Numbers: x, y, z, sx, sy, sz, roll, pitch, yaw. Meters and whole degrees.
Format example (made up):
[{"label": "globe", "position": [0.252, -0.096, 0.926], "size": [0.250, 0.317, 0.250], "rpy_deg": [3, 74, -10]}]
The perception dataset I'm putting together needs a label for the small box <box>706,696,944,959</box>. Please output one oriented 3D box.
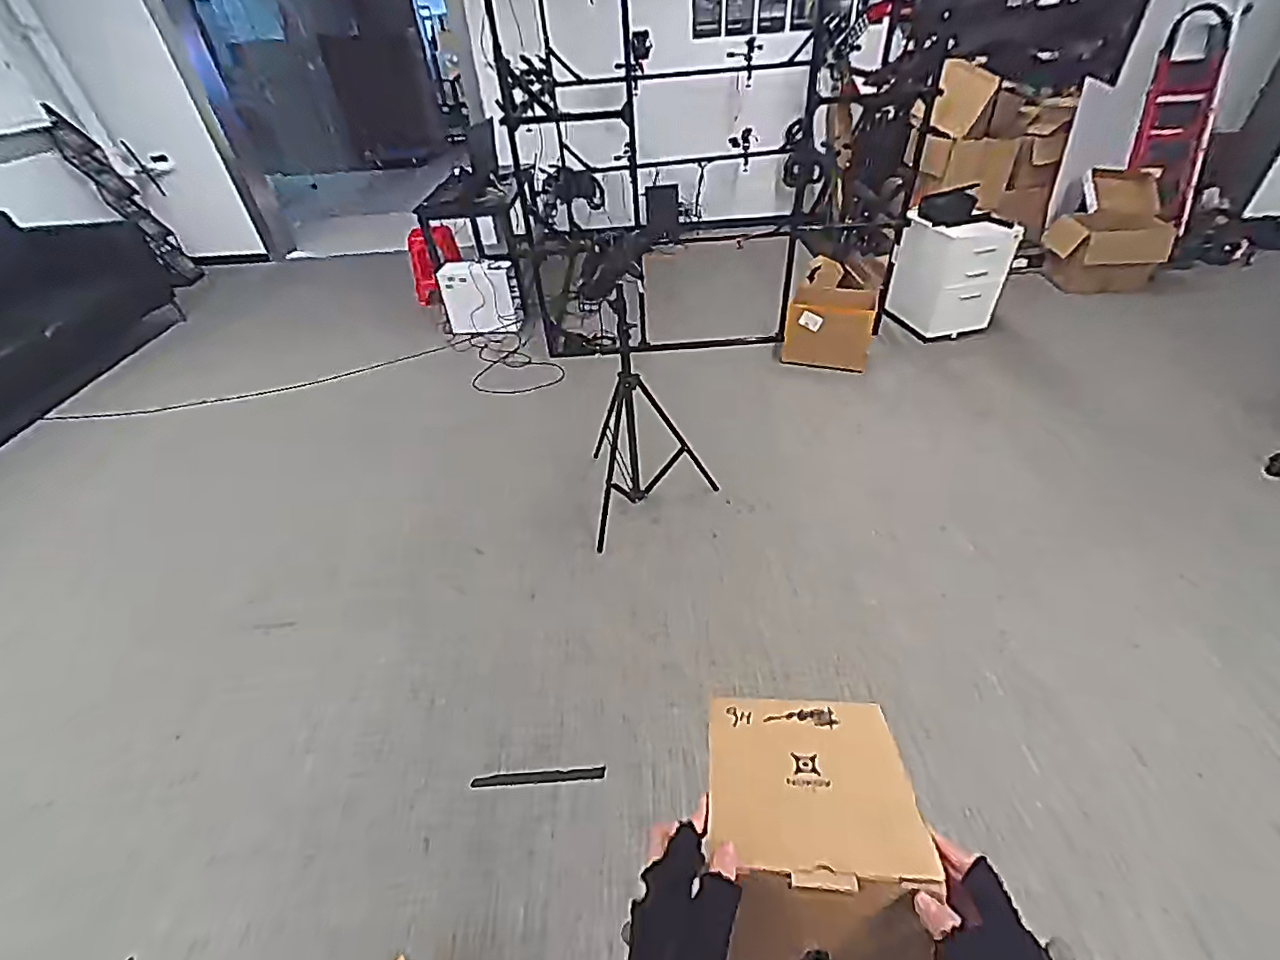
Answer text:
[{"label": "small box", "position": [0.145, 0.323, 0.482], "size": [0.168, 0.176, 0.179], "rpy_deg": [0, 20, 8]}]
